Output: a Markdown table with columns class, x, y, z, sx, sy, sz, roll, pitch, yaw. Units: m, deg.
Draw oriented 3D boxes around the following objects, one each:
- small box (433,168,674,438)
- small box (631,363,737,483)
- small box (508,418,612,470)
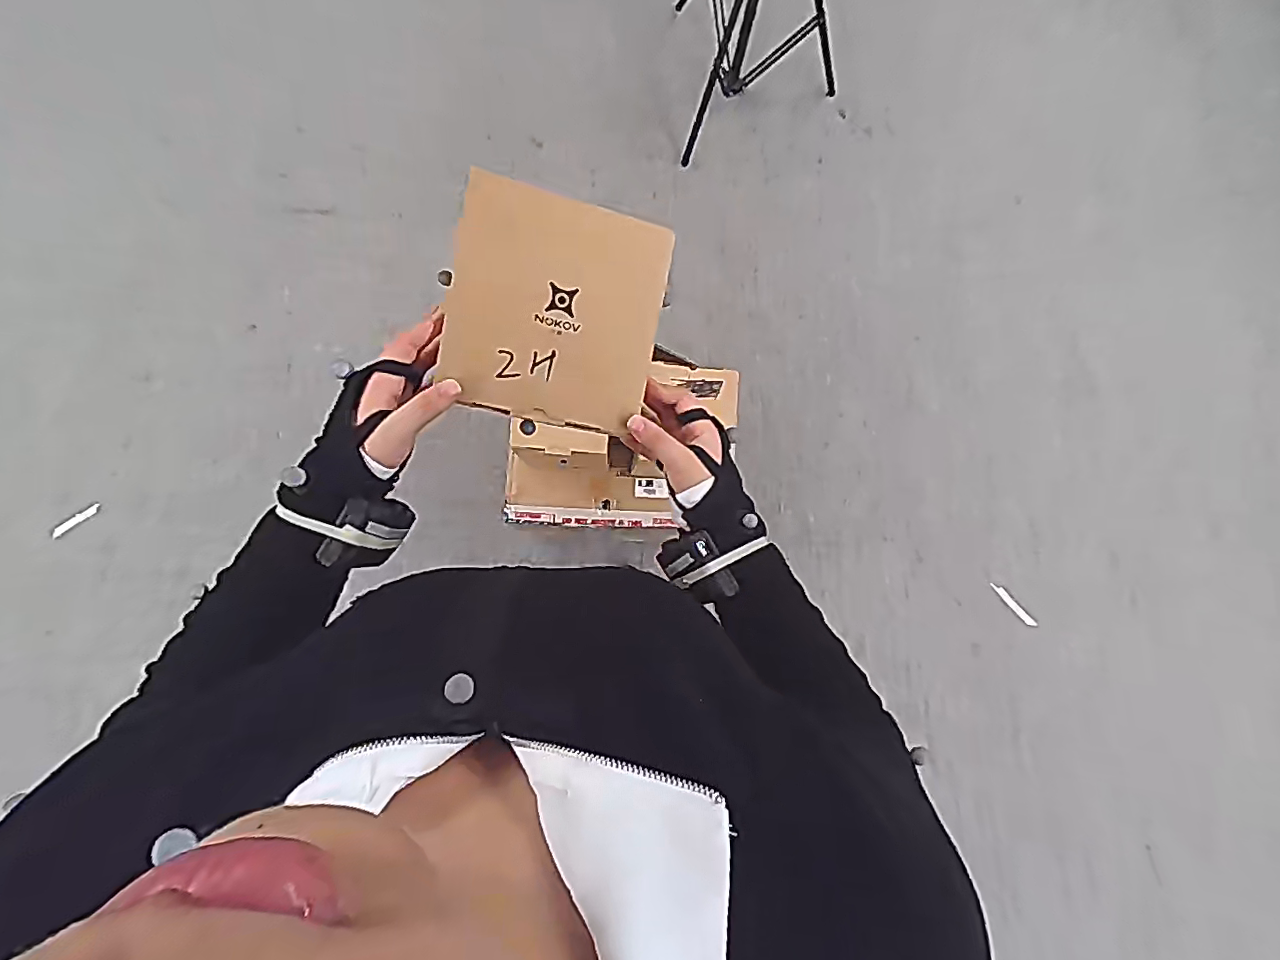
| class | x | y | z | sx | sy | sz | roll | pitch | yaw |
| --- | --- | --- | --- | --- | --- | --- | --- | --- | --- |
| small box | -0.085 | -0.142 | 0.503 | 0.168 | 0.176 | 0.179 | 11 | 93 | -15 |
| small box | 0.075 | -0.098 | 1.004 | 0.168 | 0.176 | 0.179 | 5 | 82 | -4 |
| small box | -0.133 | -0.118 | 0.992 | 0.168 | 0.176 | 0.179 | 5 | 82 | -1 |
